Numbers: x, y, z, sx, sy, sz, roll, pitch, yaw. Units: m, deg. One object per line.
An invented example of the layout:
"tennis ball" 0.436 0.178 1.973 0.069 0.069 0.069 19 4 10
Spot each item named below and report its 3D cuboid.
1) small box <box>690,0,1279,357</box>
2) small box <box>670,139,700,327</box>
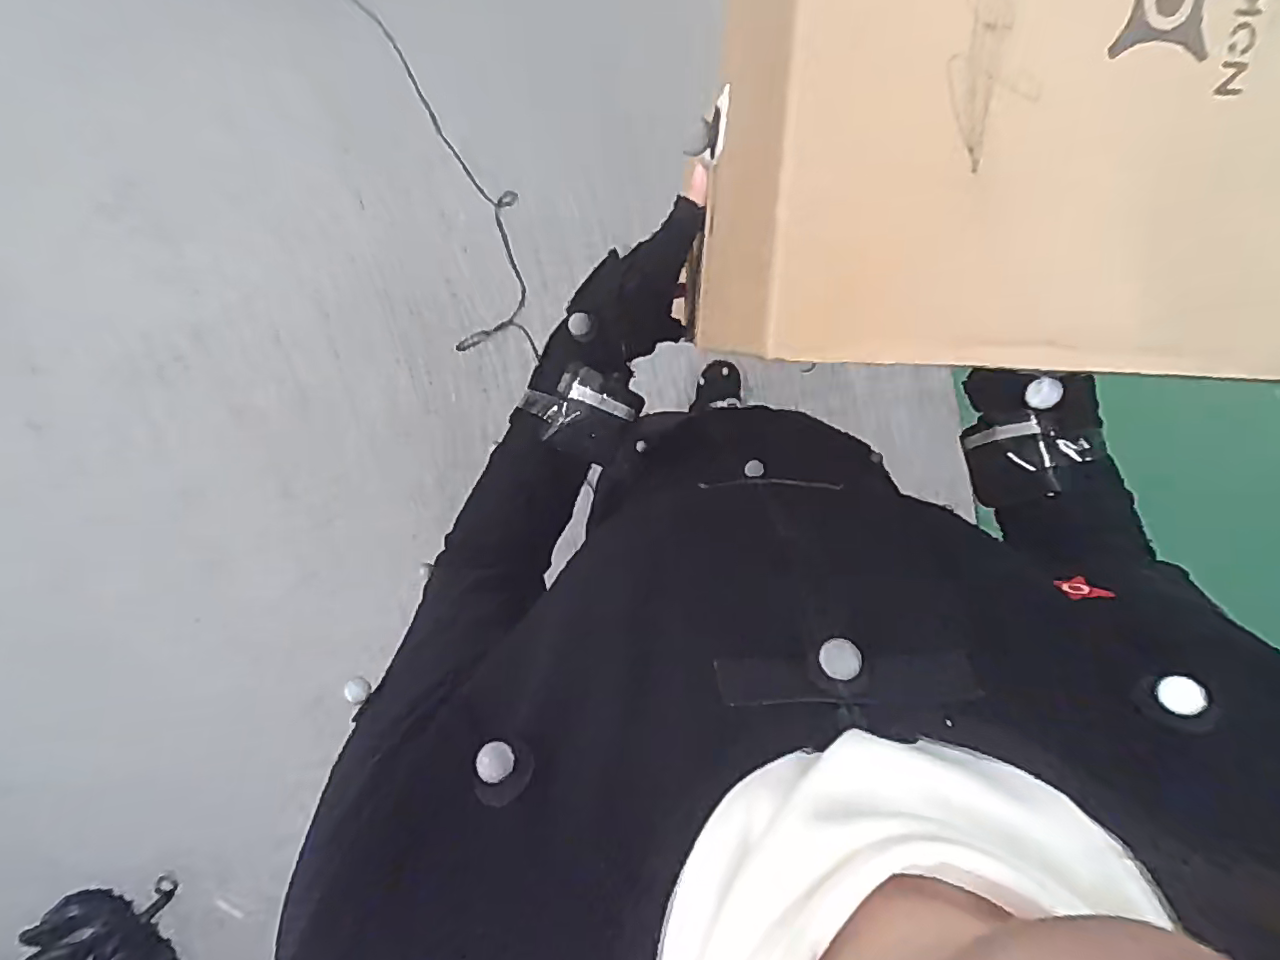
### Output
"small box" 0.116 -0.135 0.201 0.179 0.176 0.168 2 104 1
"small box" 0.127 -0.227 0.511 0.179 0.176 0.168 4 103 -2
